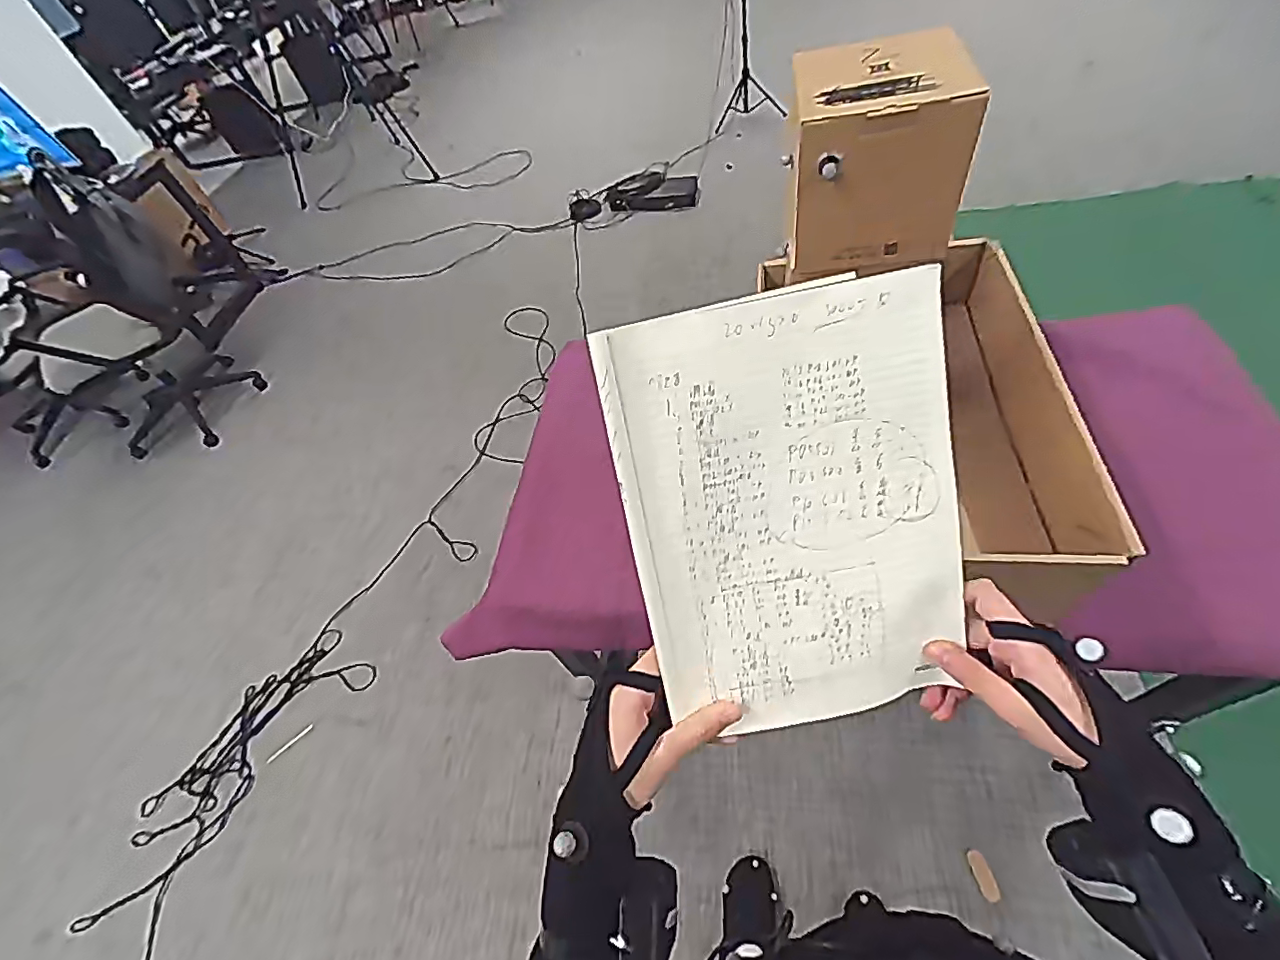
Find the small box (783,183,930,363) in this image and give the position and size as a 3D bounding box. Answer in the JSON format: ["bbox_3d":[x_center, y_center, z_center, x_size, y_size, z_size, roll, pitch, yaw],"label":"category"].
[{"bbox_3d":[0.287,-0.277,0.752,0.168,0.176,0.179,1,55,14],"label":"small box"}]
